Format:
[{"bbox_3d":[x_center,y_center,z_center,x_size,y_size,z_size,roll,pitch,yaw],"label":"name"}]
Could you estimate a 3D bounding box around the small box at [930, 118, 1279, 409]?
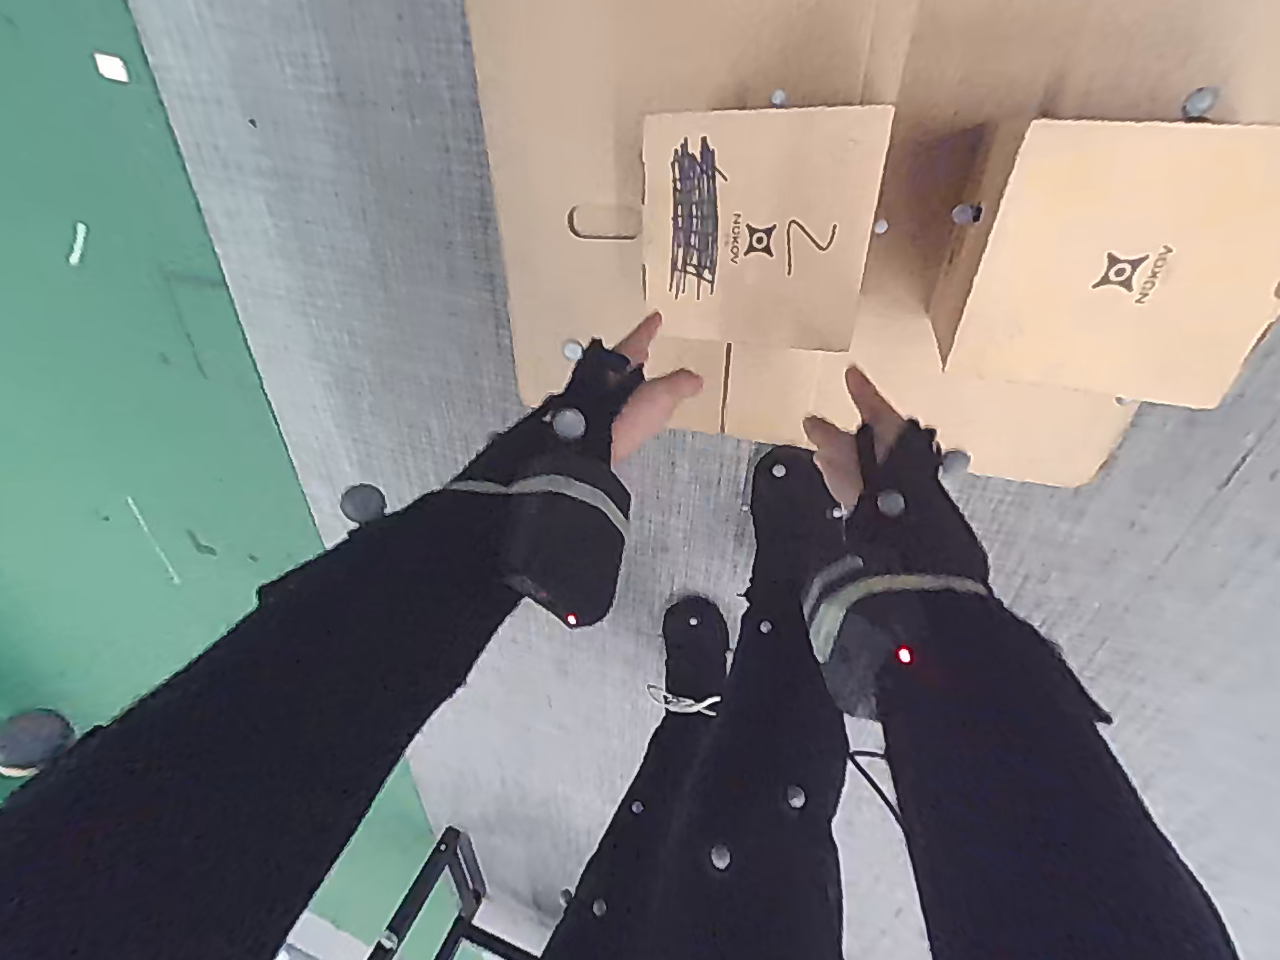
[{"bbox_3d":[0.342,-0.174,0.415,0.179,0.176,0.168,12,124,16],"label":"small box"}]
